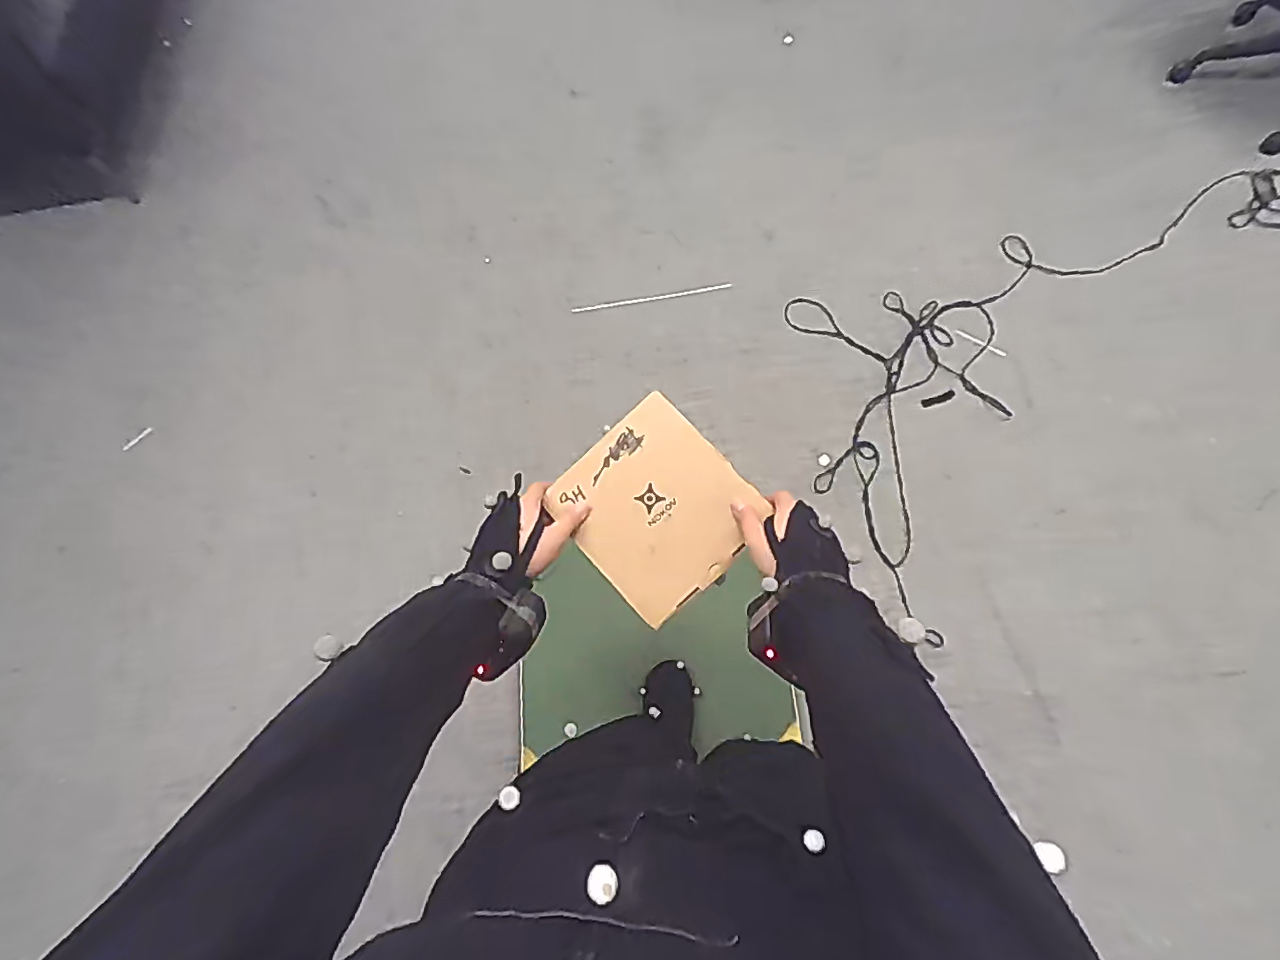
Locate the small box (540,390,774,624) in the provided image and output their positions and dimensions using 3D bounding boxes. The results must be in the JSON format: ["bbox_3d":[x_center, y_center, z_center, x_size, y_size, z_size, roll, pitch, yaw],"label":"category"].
[{"bbox_3d":[0.022,0.032,0.611,0.168,0.176,0.179,-43,81,-2],"label":"small box"}]
